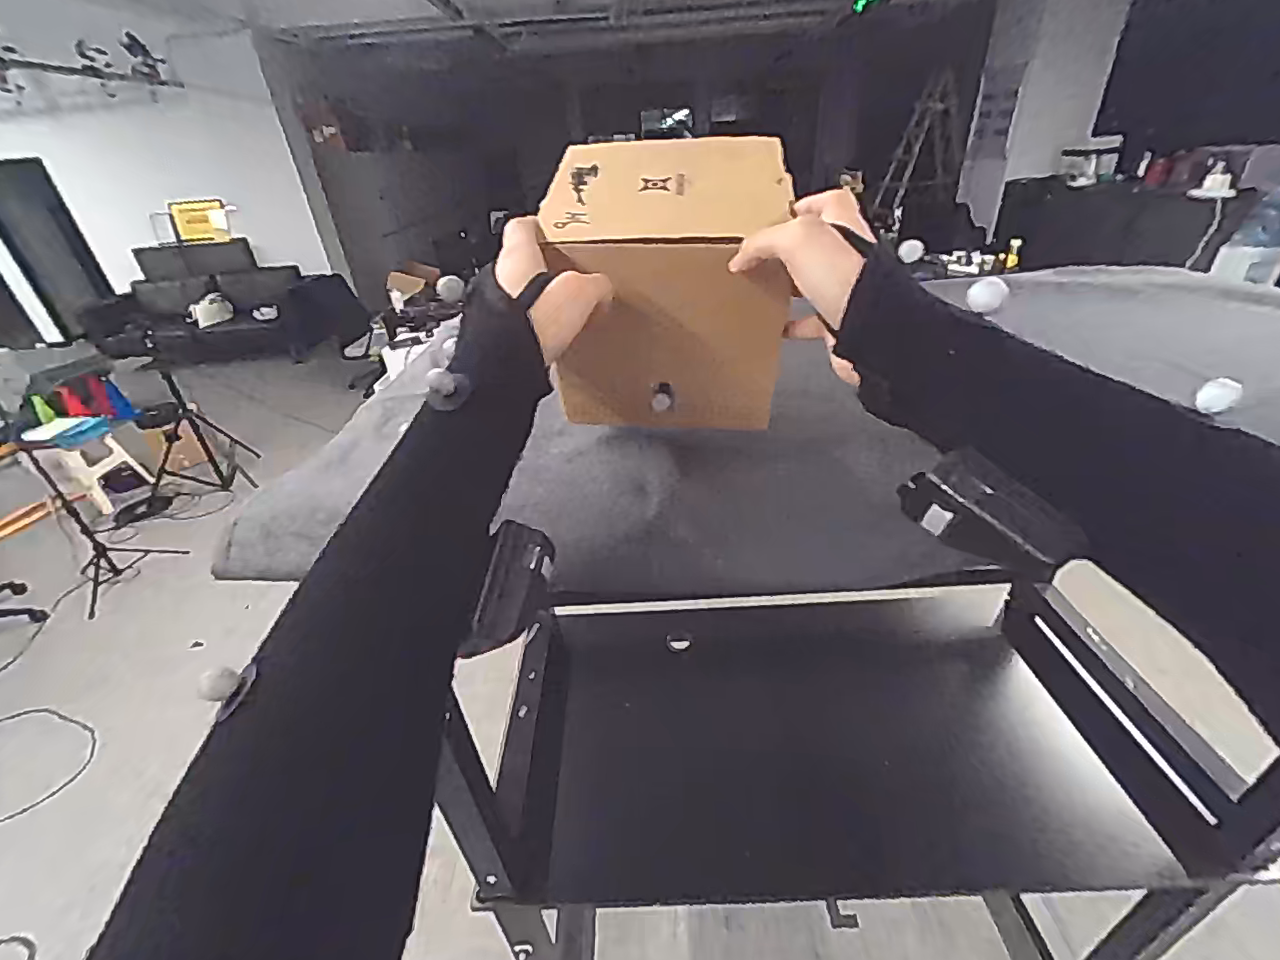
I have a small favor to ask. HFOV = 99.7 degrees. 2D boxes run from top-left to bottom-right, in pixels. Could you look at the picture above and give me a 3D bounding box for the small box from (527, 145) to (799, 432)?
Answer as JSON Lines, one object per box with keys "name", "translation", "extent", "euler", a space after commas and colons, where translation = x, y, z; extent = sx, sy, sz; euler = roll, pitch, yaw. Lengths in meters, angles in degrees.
{"name": "small box", "translation": [0.023, -0.155, 0.453], "extent": [0.179, 0.176, 0.168], "euler": [3, 50, 5]}
